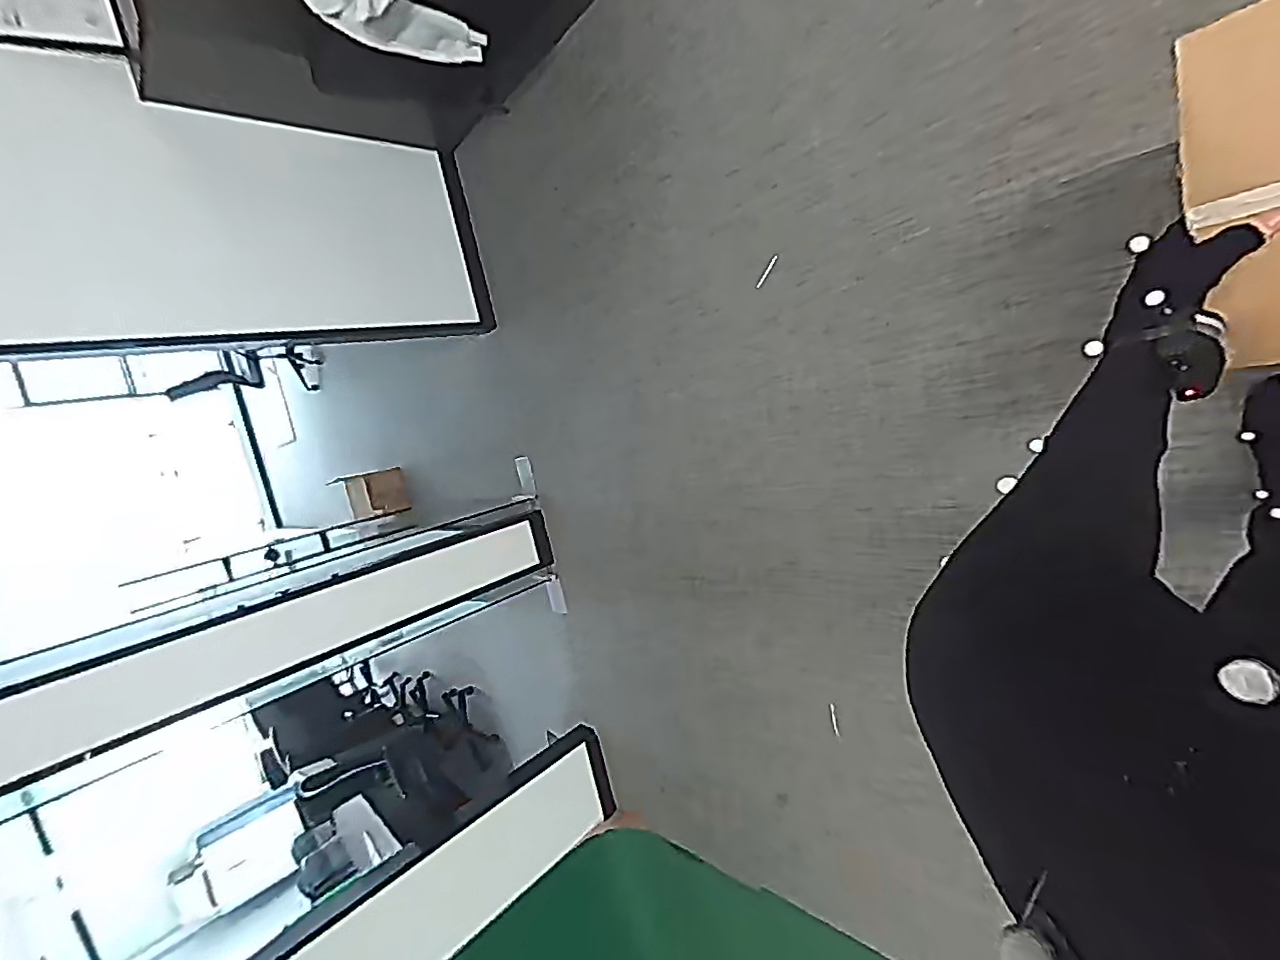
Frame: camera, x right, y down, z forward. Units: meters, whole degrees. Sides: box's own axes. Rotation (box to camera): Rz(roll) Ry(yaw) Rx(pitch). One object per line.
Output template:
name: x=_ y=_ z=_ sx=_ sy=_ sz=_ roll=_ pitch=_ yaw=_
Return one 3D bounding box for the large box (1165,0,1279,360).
large box: x=0.751 y=-0.334 z=0.463 sx=0.408 sy=0.320 sz=0.320 roll=-3 pitch=112 yaw=48
